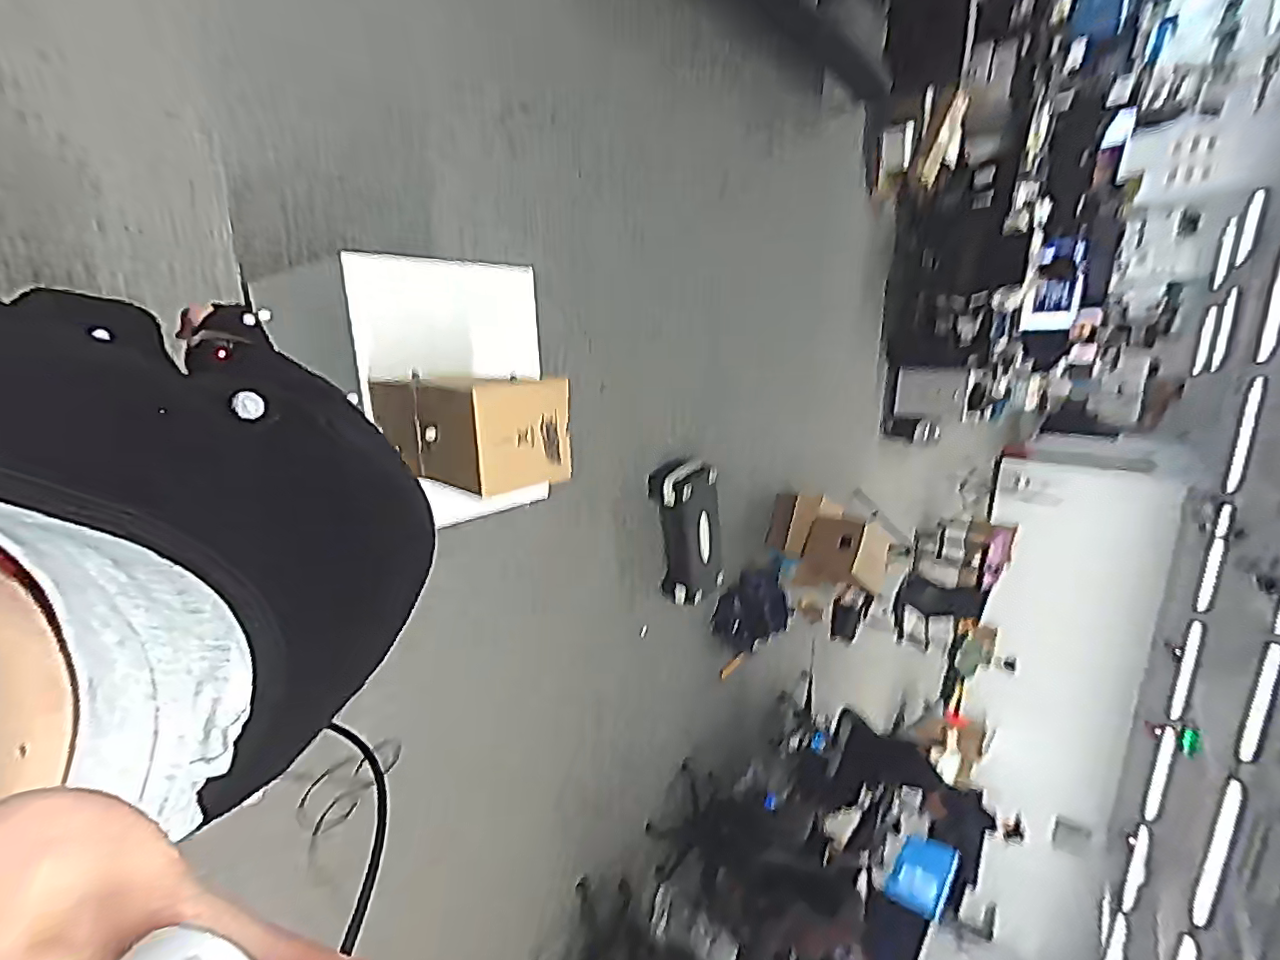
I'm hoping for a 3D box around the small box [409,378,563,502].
[{"bbox_3d":[-0.246,-0.075,0.876,0.179,0.176,0.168,-17,112,-47],"label":"small box"}]

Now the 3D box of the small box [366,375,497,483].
[{"bbox_3d":[-0.373,-0.101,0.978,0.179,0.176,0.168,-19,114,-48],"label":"small box"}]
